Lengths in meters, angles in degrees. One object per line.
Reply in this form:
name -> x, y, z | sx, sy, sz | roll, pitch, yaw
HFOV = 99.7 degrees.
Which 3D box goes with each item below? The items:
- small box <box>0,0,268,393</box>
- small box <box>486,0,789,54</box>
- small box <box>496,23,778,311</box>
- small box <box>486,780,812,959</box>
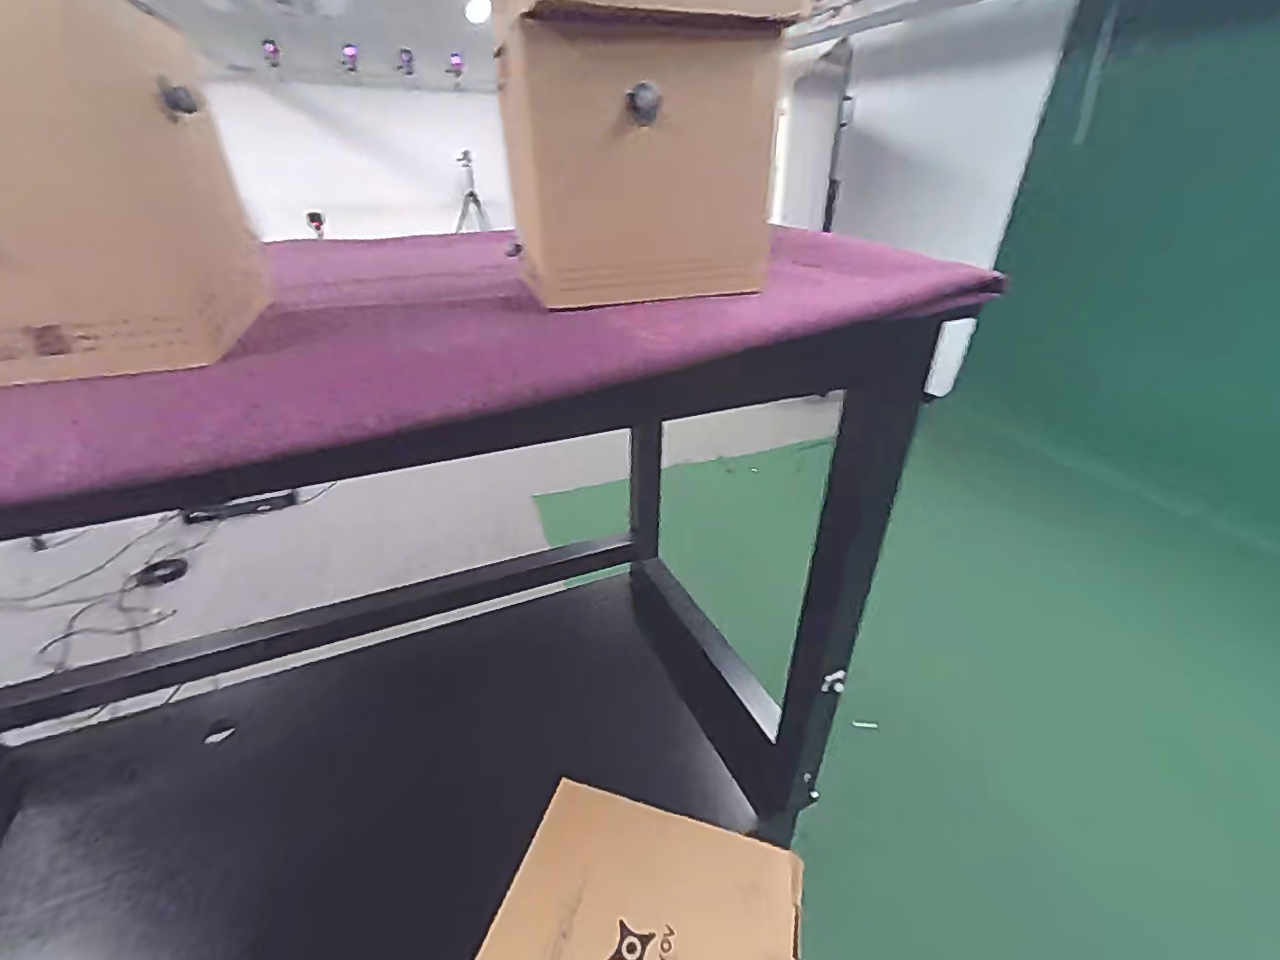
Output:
small box -> -0.330, -0.150, 0.290 | 0.168, 0.176, 0.179 | -11, 32, -19
small box -> -0.010, -0.373, 0.345 | 0.179, 0.176, 0.168 | -12, 31, -19
small box -> -0.010, -0.239, 0.438 | 0.179, 0.176, 0.168 | -10, 30, -15
small box -> 0.005, 0.343, 0.349 | 0.179, 0.176, 0.168 | 8, 29, 17
